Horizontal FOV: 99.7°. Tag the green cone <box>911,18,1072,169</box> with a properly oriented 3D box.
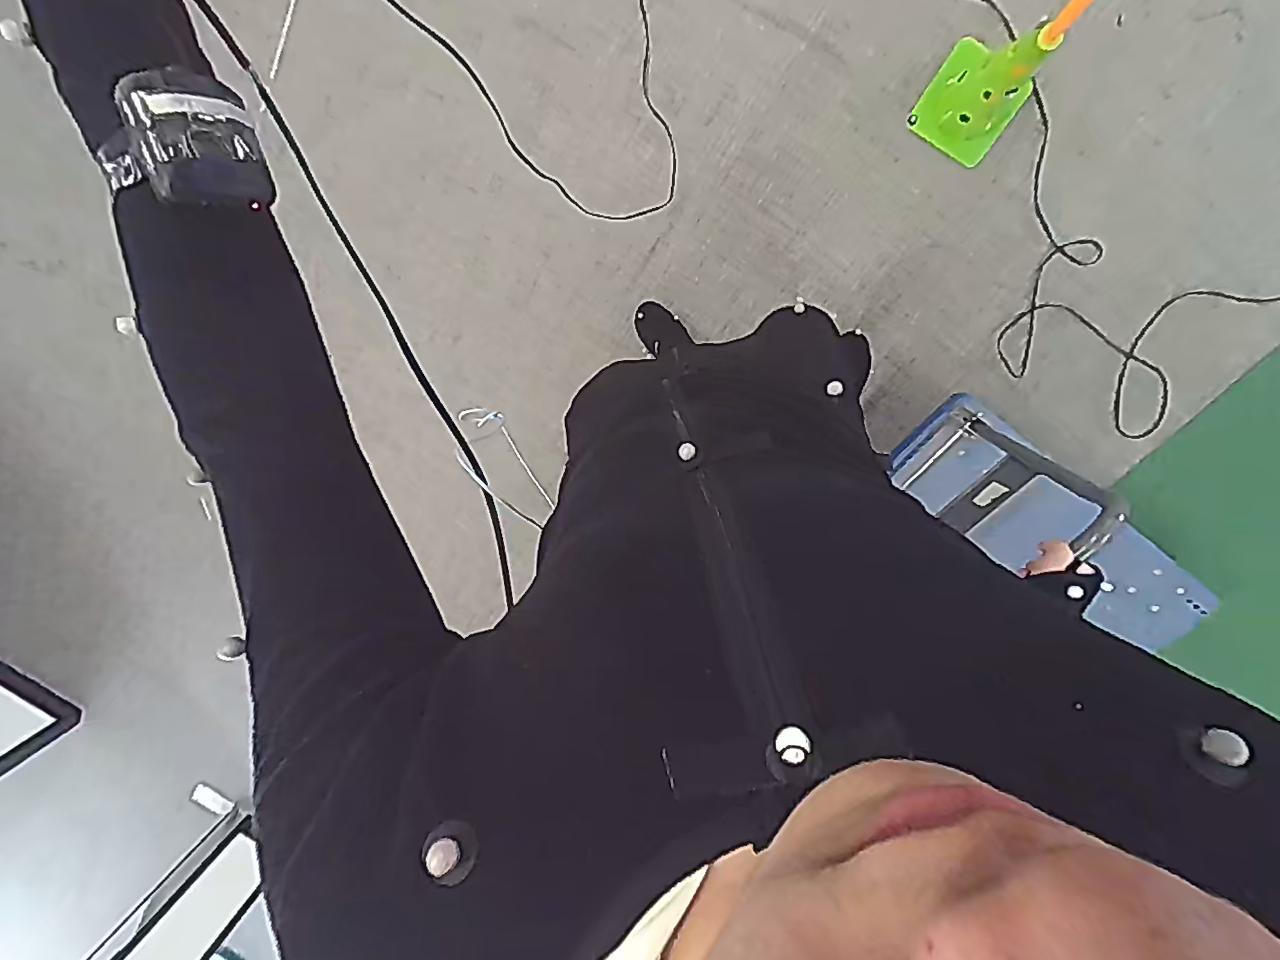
[{"bbox_3d":[0.727,-0.797,1.070,0.200,0.368,0.202,31,110,-2],"label":"green cone"}]
